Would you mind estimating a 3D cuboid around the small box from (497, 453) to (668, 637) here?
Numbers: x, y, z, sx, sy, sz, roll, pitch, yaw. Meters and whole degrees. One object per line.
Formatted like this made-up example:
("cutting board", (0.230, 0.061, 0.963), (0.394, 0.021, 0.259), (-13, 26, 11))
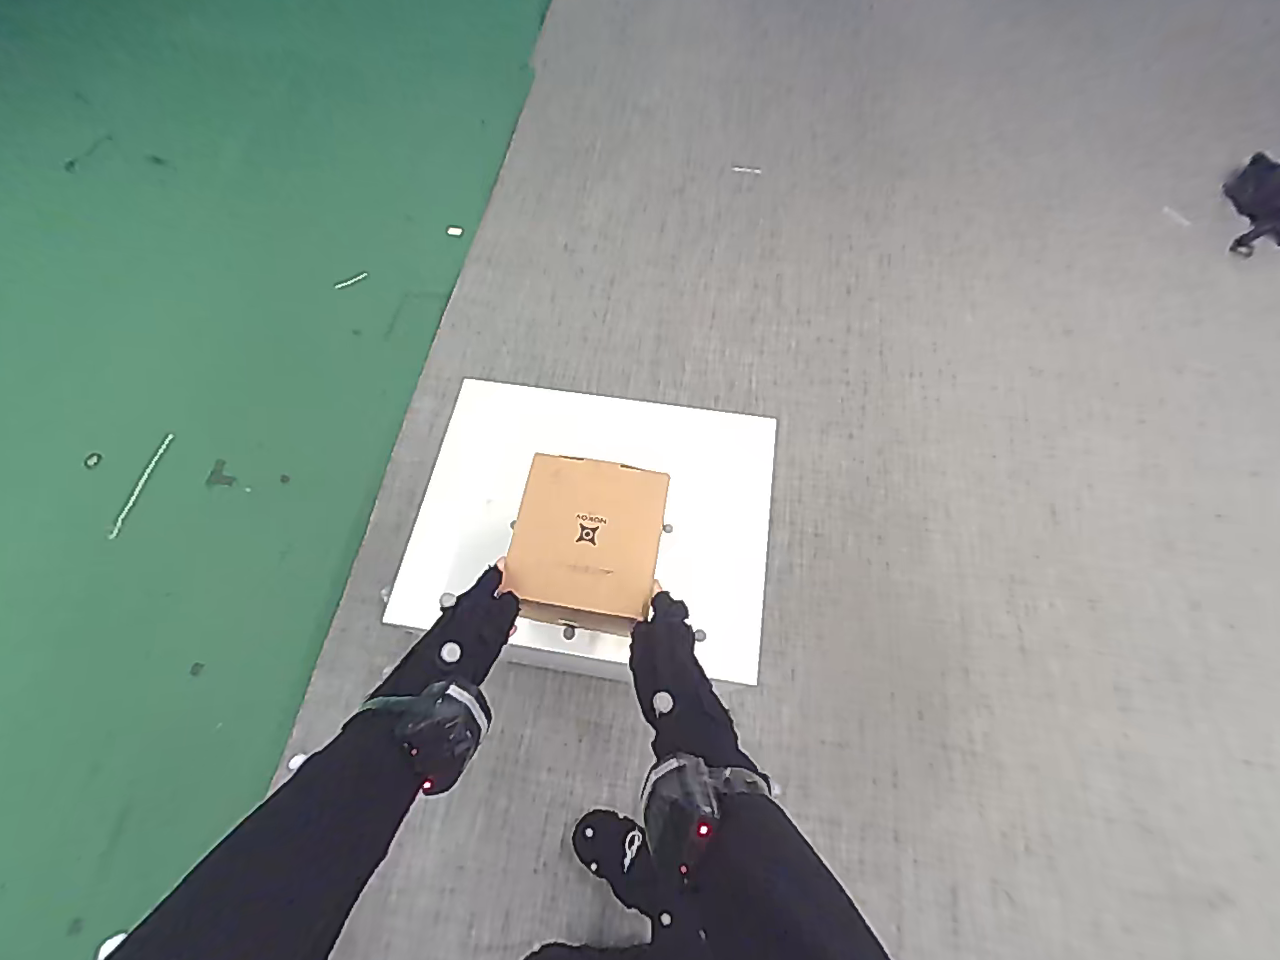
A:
("small box", (-0.061, 0.088, 0.676), (0.168, 0.176, 0.179), (7, 68, 3))
